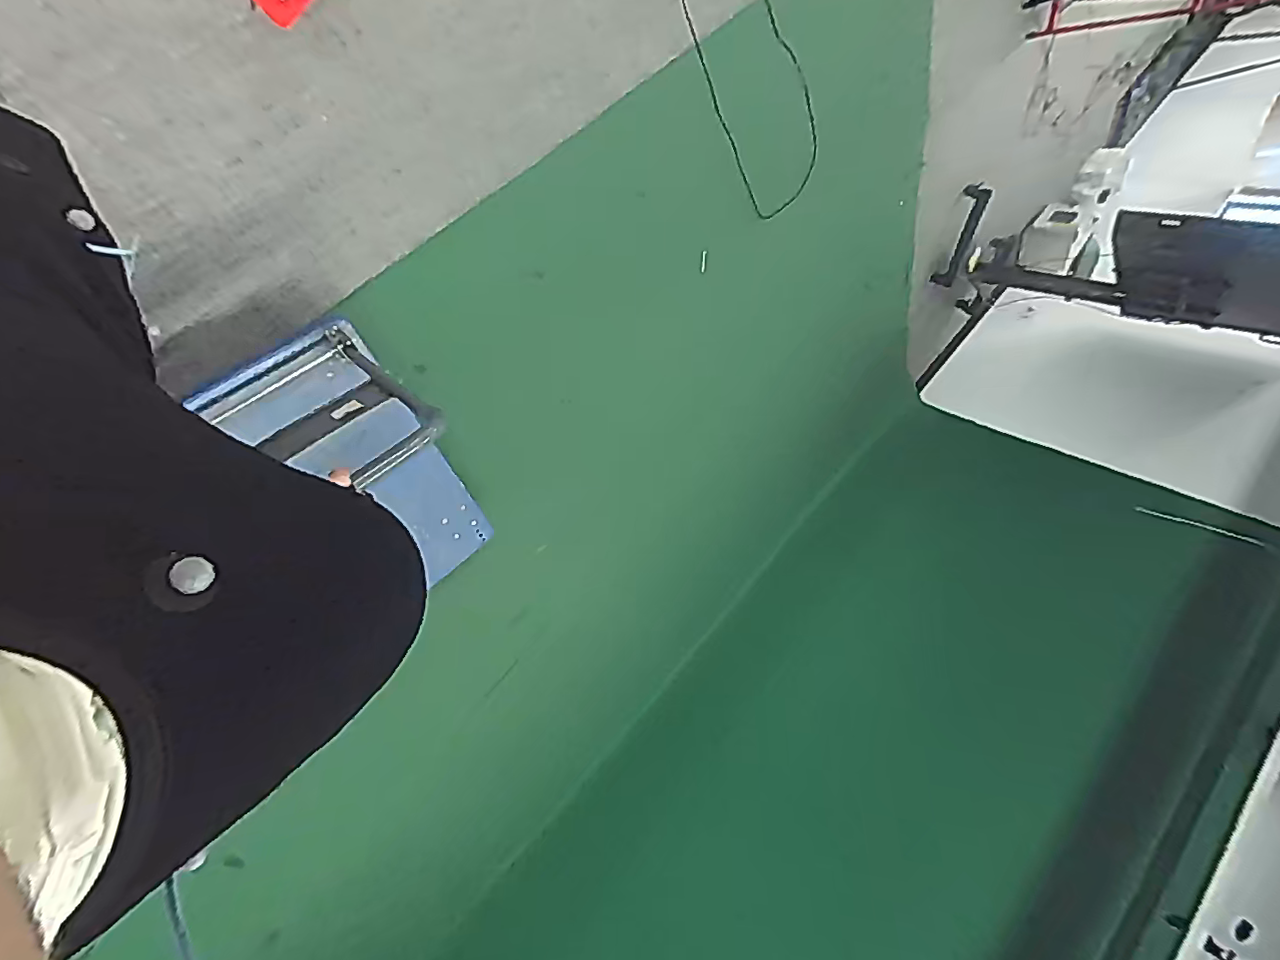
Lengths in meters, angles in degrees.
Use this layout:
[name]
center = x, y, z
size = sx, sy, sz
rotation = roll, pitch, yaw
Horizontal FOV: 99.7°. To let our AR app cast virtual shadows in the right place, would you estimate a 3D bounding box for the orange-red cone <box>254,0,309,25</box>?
[orange-red cone]
center = -0.620, -0.985, 0.958
size = 0.199, 0.360, 0.198
rotation = -56, 143, -4
